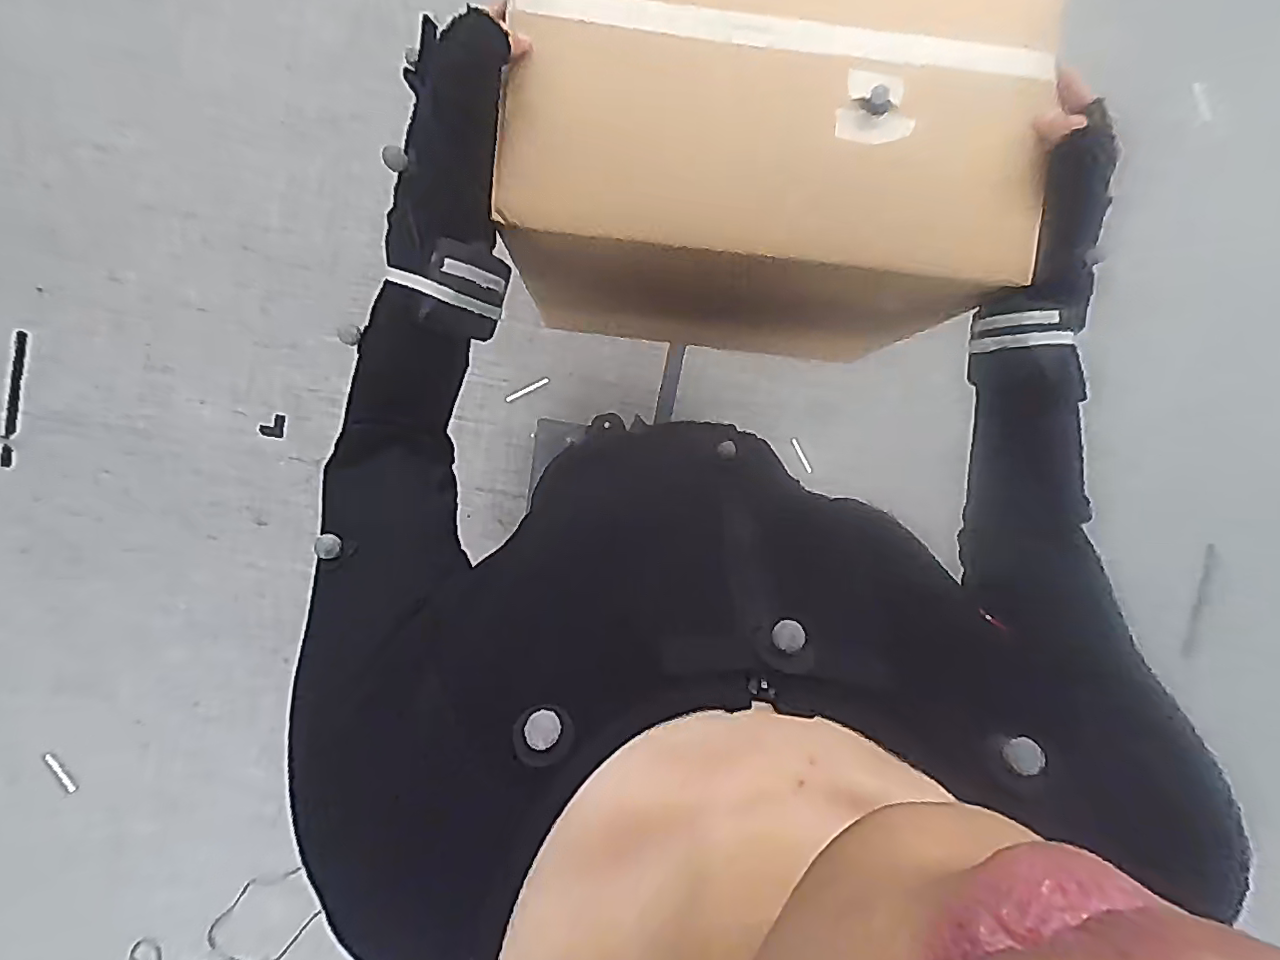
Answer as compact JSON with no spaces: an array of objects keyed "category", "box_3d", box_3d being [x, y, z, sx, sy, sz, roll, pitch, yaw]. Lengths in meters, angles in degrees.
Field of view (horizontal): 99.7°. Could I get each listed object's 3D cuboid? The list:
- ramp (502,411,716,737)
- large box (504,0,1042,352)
[{"category":"ramp","box_3d":[-0.113,0.322,1.601,0.509,0.206,0.991,8,95,-4]},{"category":"large box","box_3d":[0.097,-0.332,0.558,0.408,0.320,0.320,5,92,-3]}]
